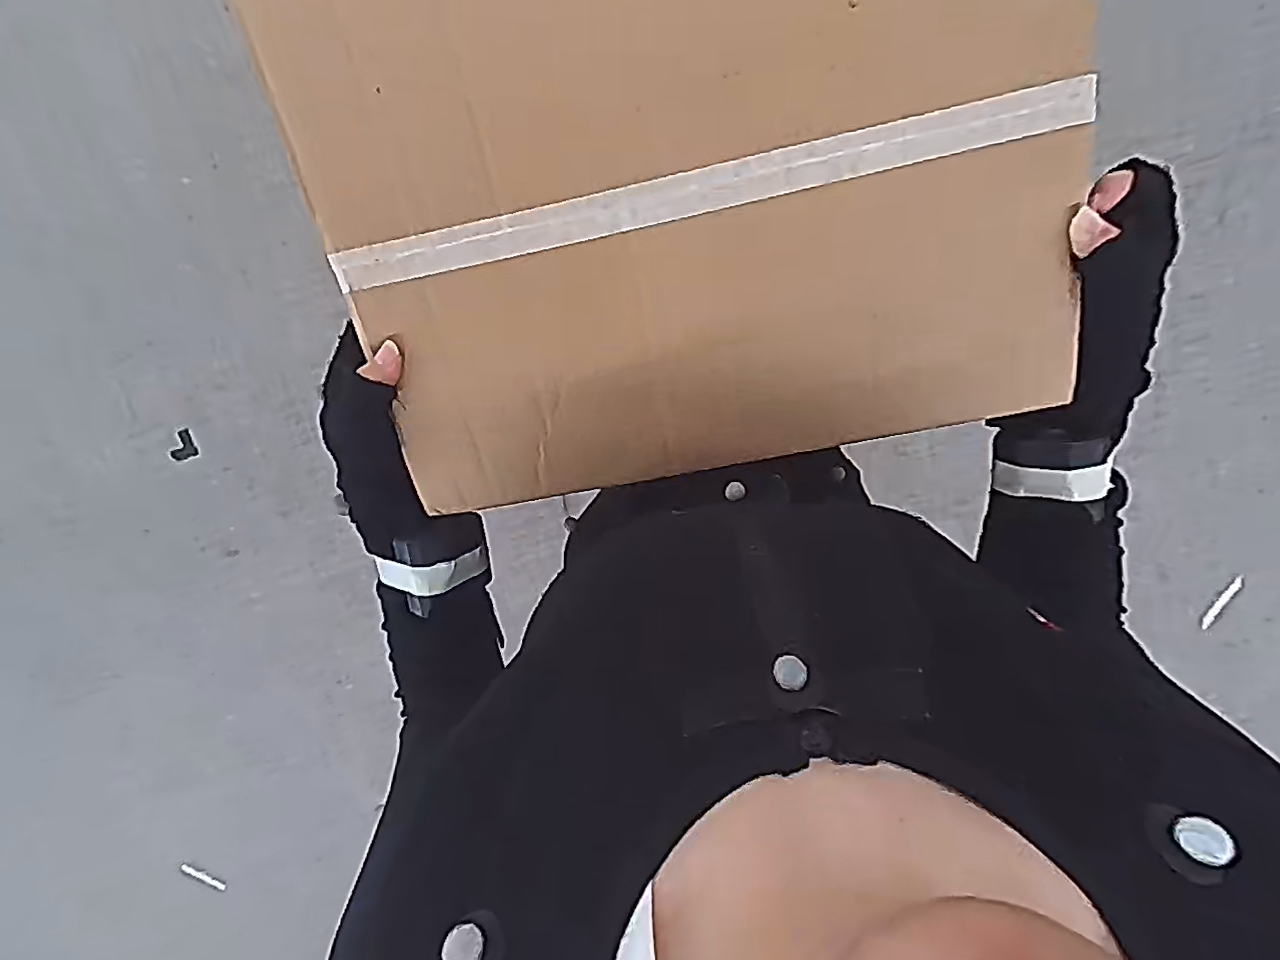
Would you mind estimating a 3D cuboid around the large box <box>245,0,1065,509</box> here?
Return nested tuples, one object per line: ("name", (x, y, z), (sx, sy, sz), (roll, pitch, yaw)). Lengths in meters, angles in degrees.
("large box", (0.027, -0.210, 0.439), (0.408, 0.320, 0.320), (-10, 110, 6))
